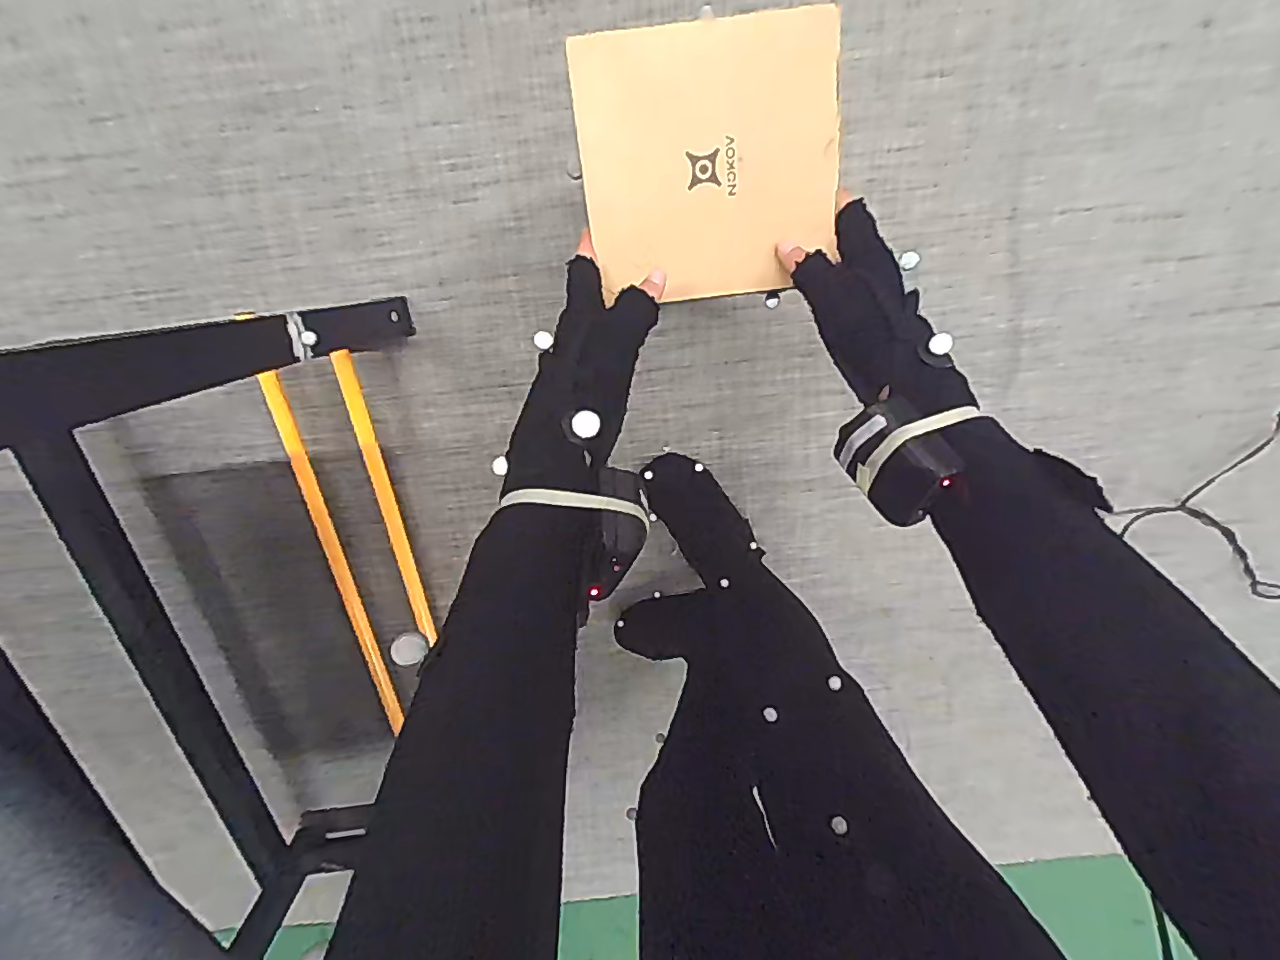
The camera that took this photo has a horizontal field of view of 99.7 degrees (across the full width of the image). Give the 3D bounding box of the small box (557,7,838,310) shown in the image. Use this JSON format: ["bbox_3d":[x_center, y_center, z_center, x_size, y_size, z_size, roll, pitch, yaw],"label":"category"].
[{"bbox_3d":[0.041,-0.234,0.434,0.179,0.176,0.168,-6,113,1],"label":"small box"}]
